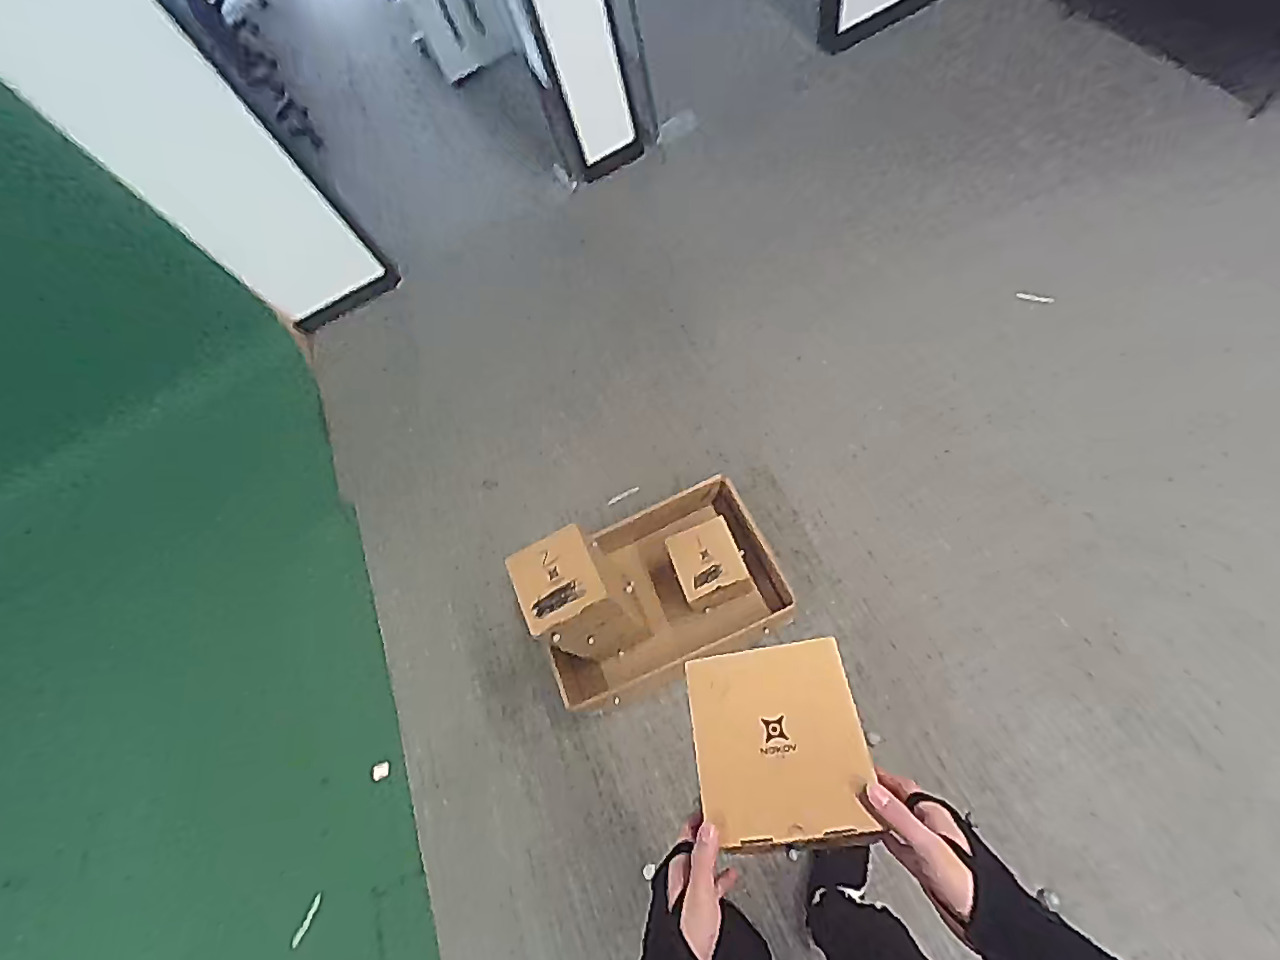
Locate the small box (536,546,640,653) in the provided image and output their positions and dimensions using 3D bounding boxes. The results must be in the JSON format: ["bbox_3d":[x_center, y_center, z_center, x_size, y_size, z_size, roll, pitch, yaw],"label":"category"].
[{"bbox_3d":[-0.118,0.287,1.277,0.168,0.176,0.179,-28,63,1],"label":"small box"}]

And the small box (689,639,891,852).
[{"bbox_3d":[0.156,0.298,0.598,0.168,0.176,0.179,-12,53,9],"label":"small box"}]
